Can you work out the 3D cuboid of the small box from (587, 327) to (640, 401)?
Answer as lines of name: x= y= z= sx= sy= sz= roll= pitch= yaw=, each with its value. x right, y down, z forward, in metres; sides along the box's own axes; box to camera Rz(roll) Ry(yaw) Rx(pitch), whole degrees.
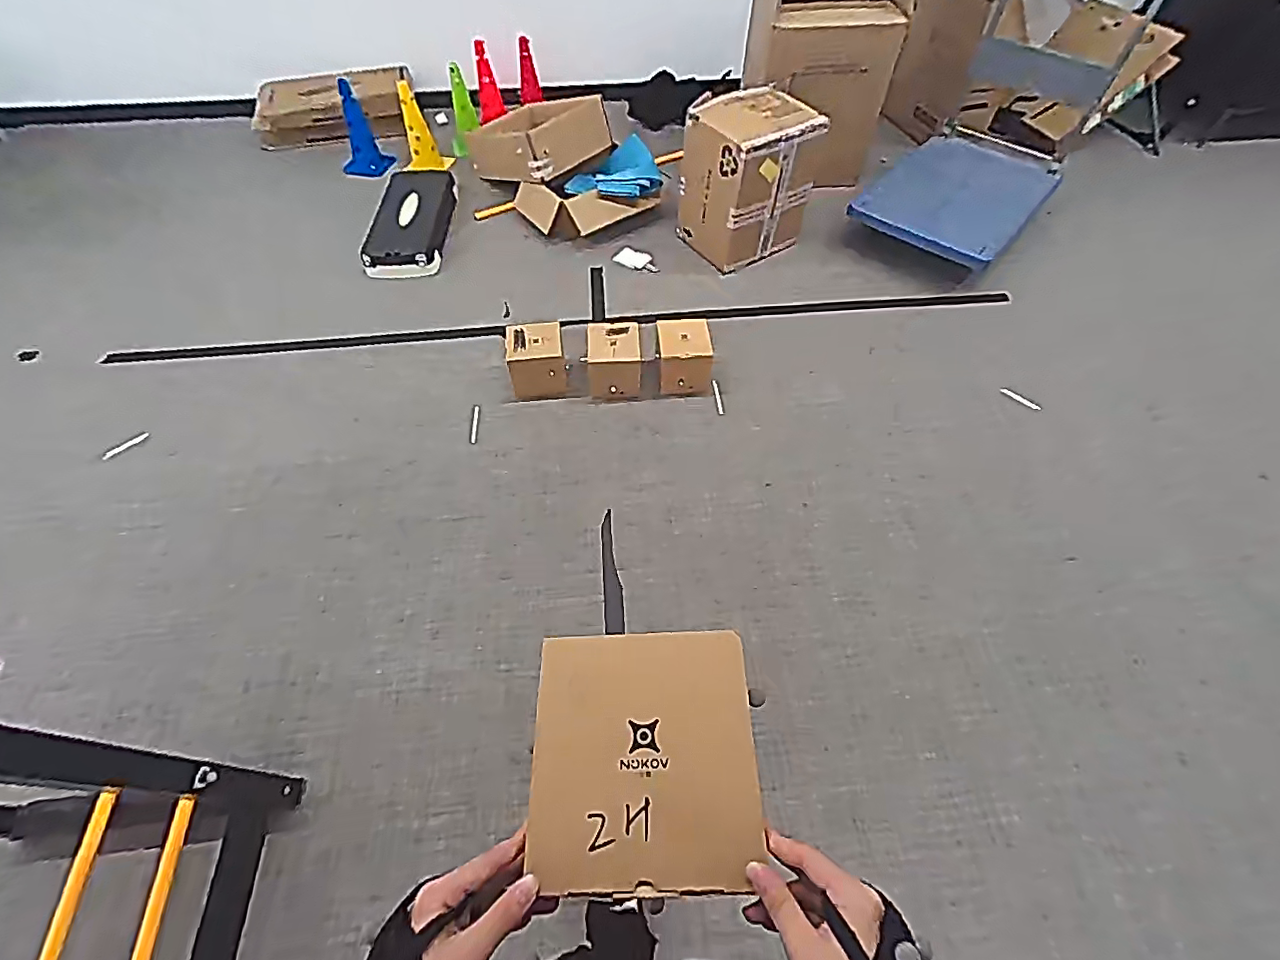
small box: x=-0.087 y=-0.381 z=1.786 sx=0.168 sy=0.176 sz=0.179 roll=-2 pitch=57 yaw=-2

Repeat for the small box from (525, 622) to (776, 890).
small box: x=0.011 y=0.236 z=0.460 sx=0.168 sy=0.176 sz=0.179 roll=-4 pitch=55 yaw=3

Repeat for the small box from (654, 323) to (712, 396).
small box: x=0.138 y=-0.401 z=1.805 sx=0.168 sy=0.176 sz=0.179 roll=-4 pitch=56 yaw=-3
